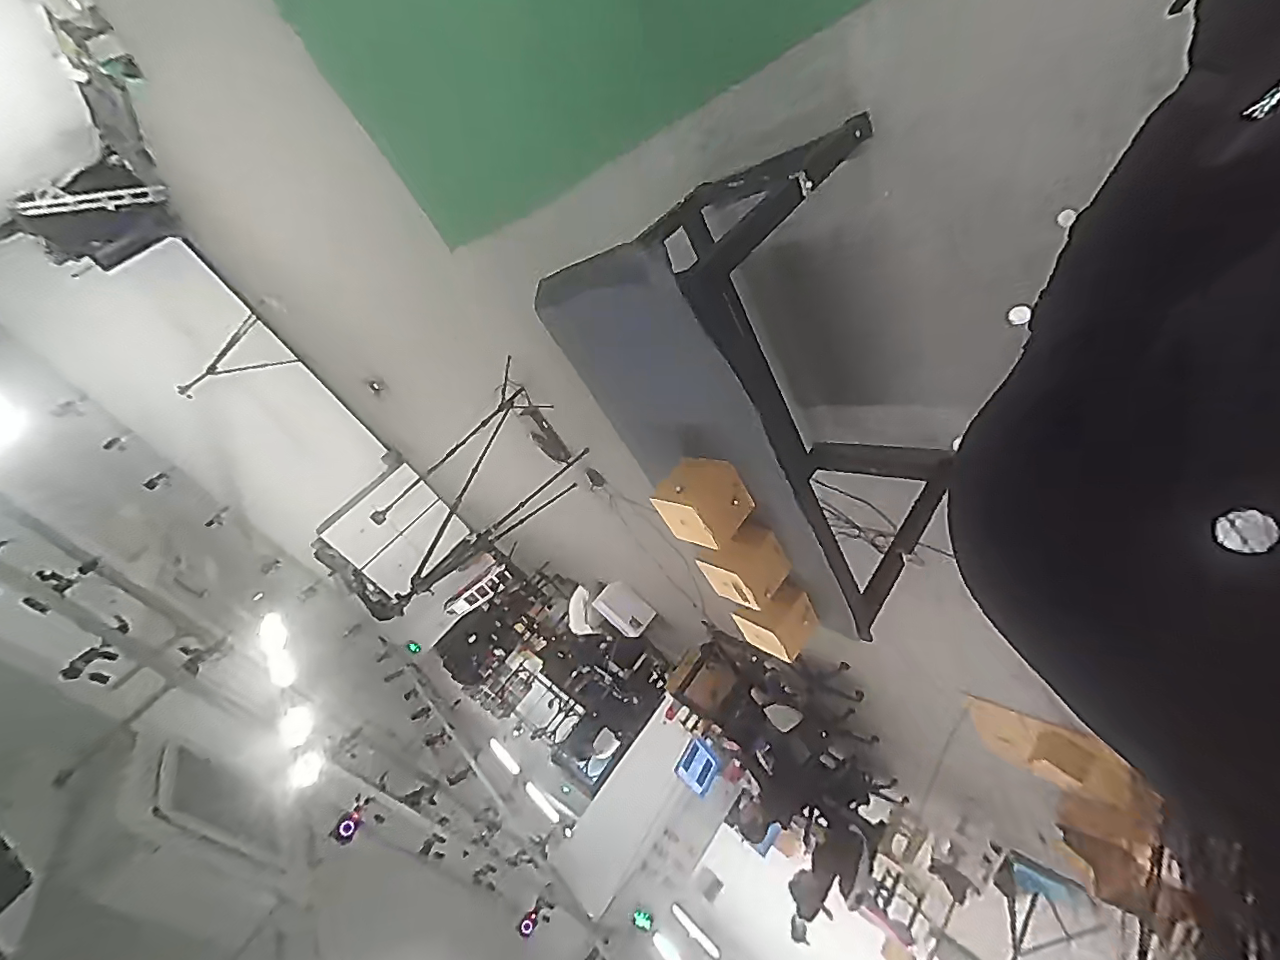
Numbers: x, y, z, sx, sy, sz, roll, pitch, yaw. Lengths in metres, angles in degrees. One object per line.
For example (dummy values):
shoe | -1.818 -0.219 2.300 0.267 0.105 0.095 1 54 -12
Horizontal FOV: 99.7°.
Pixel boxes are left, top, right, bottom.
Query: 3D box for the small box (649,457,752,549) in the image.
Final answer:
small box | 0.164 0.054 1.444 0.179 0.176 0.168 9 140 52

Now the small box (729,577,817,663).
small box | 0.416 0.426 1.683 0.179 0.176 0.168 14 145 50
